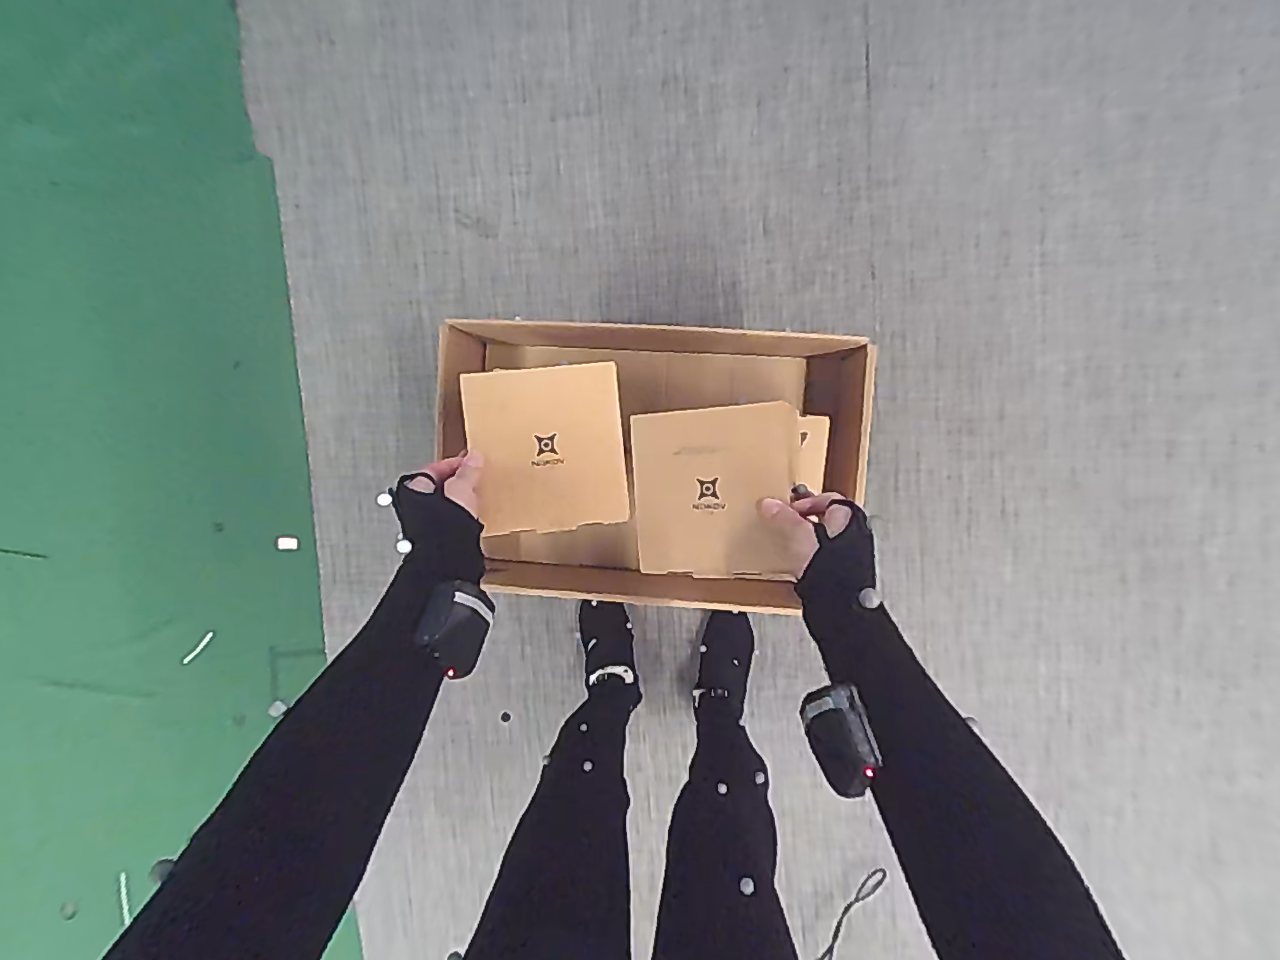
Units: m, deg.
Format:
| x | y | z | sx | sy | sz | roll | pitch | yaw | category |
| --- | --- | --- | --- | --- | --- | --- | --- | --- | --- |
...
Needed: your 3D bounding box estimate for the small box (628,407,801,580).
| x | y | z | sx | sy | sz | roll | pitch | yaw | category |
| --- | --- | --- | --- | --- | --- | --- | --- | --- | --- |
| 0.096 | 0.011 | 0.636 | 0.168 | 0.176 | 0.179 | -3 | 92 | 21 | small box |
